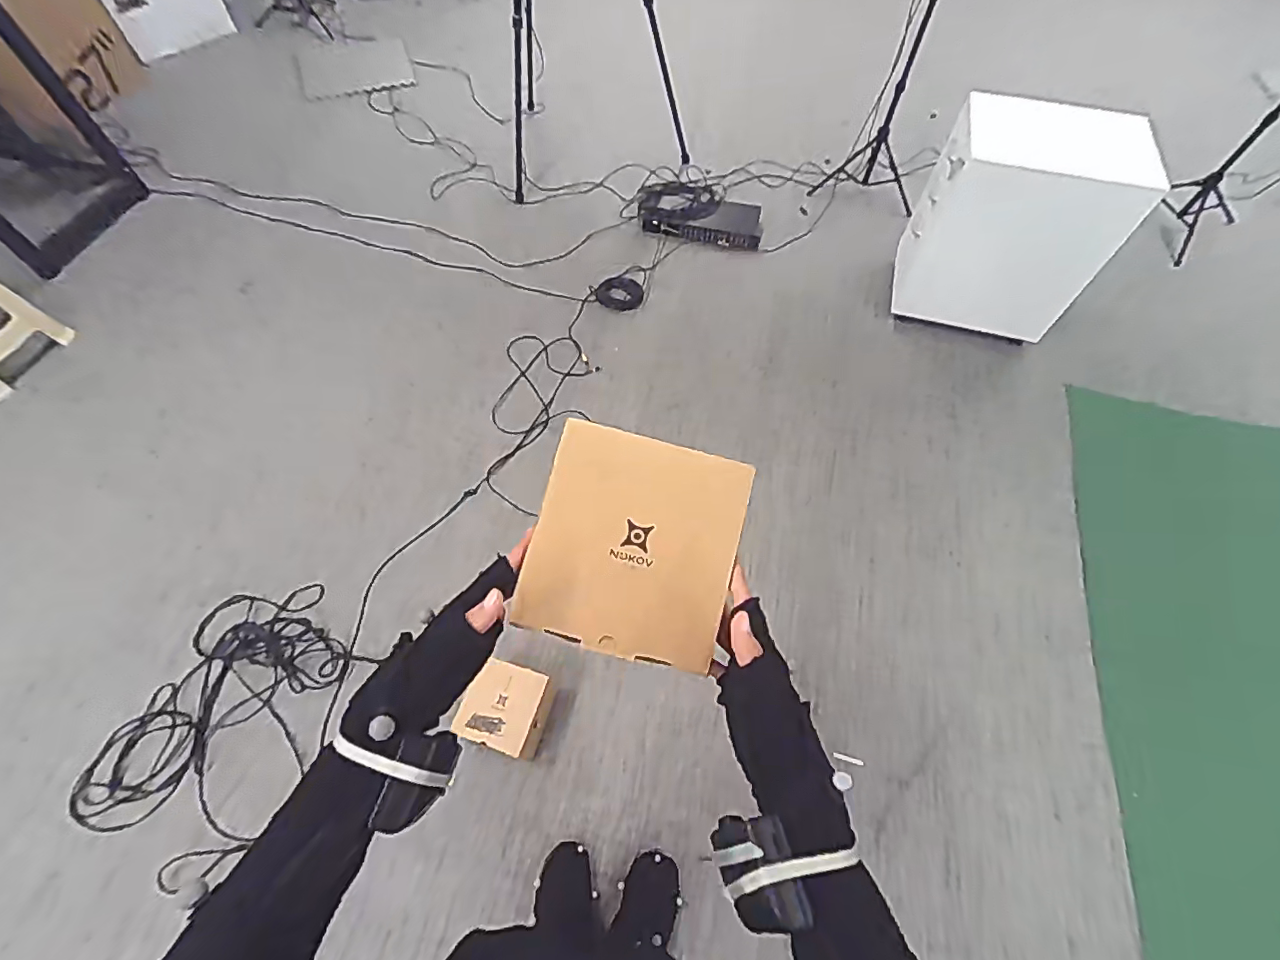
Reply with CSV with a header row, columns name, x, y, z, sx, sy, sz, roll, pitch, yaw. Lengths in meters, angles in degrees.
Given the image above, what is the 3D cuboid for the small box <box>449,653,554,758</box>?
name,x,y,z,sx,sy,sz,roll,pitch,yaw
small box,-0.311,0.530,1.259,0.168,0.176,0.179,15,60,8
